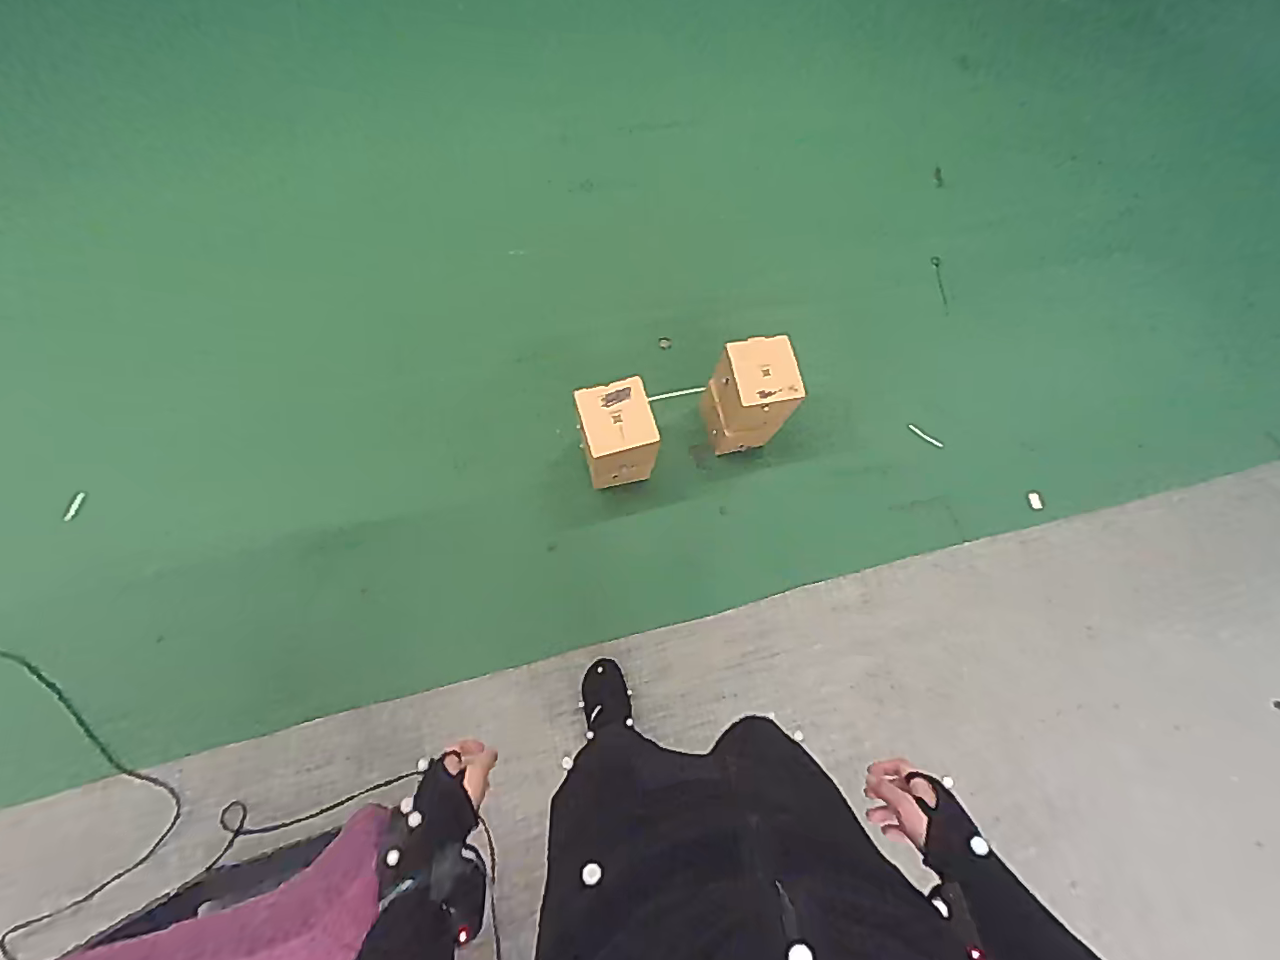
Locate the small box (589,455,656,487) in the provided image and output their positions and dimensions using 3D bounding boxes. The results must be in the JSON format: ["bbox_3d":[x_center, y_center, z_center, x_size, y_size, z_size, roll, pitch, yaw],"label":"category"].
[{"bbox_3d":[-0.058,-0.090,1.500,0.168,0.176,0.179,-13,74,-7],"label":"small box"}]

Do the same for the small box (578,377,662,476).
[{"bbox_3d":[-0.055,-0.128,1.340,0.168,0.176,0.179,-16,77,-8],"label":"small box"}]

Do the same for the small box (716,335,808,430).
[{"bbox_3d":[0.306,-0.249,1.400,0.168,0.176,0.179,-10,75,-7],"label":"small box"}]
